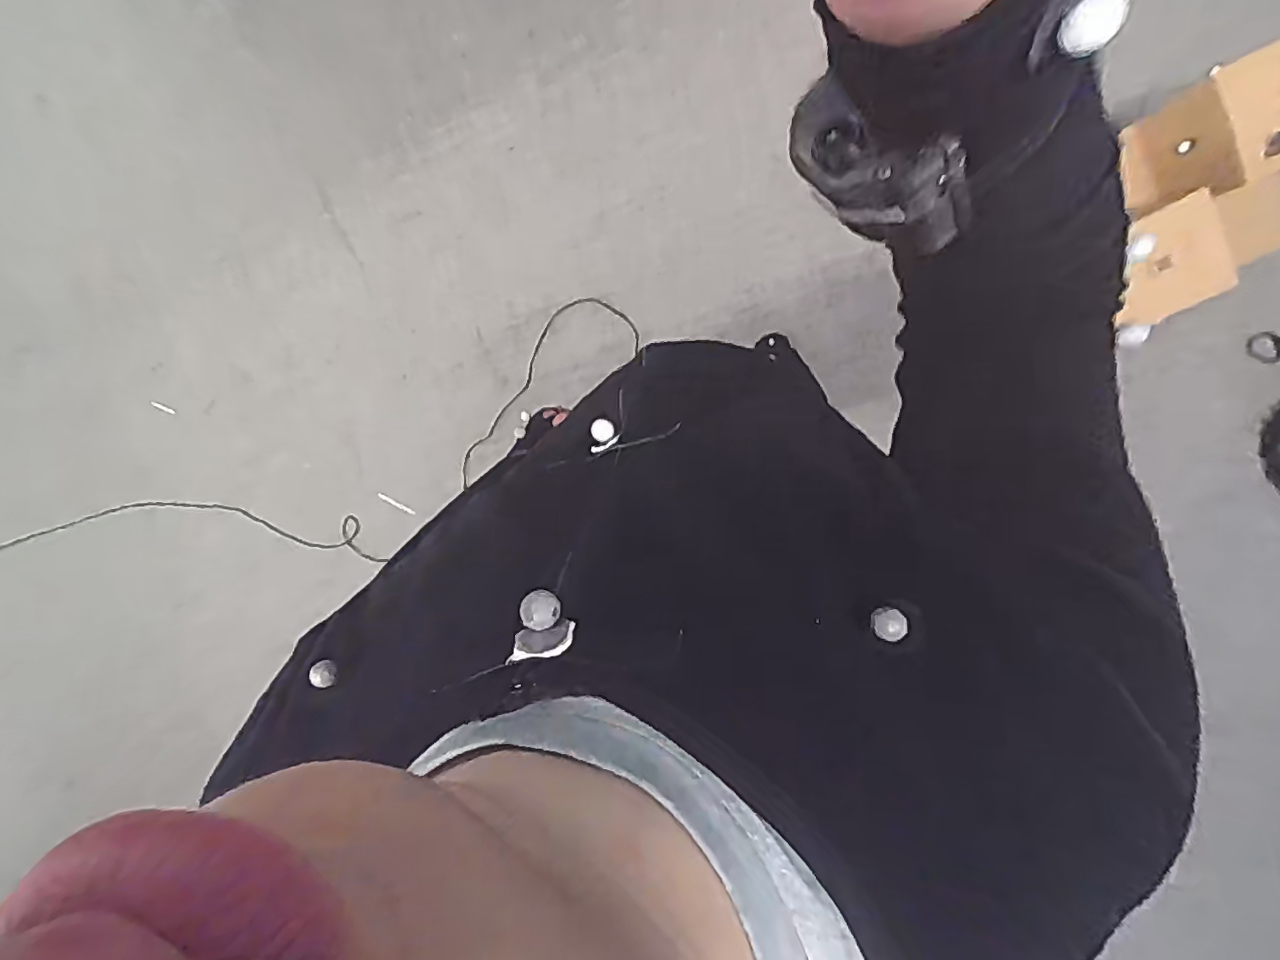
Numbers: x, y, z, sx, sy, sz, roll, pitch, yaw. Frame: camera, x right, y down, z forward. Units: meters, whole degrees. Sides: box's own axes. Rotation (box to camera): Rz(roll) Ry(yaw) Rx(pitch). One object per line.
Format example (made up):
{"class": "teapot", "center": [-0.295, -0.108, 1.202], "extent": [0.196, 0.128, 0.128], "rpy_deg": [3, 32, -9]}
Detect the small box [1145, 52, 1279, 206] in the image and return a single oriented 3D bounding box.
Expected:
{"class": "small box", "center": [0.975, -0.553, 0.863], "extent": [0.168, 0.176, 0.179], "rpy_deg": [-22, 94, 15]}

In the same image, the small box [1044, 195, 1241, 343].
{"class": "small box", "center": [0.846, -0.350, 0.935], "extent": [0.179, 0.176, 0.168], "rpy_deg": [-26, 99, 14]}
